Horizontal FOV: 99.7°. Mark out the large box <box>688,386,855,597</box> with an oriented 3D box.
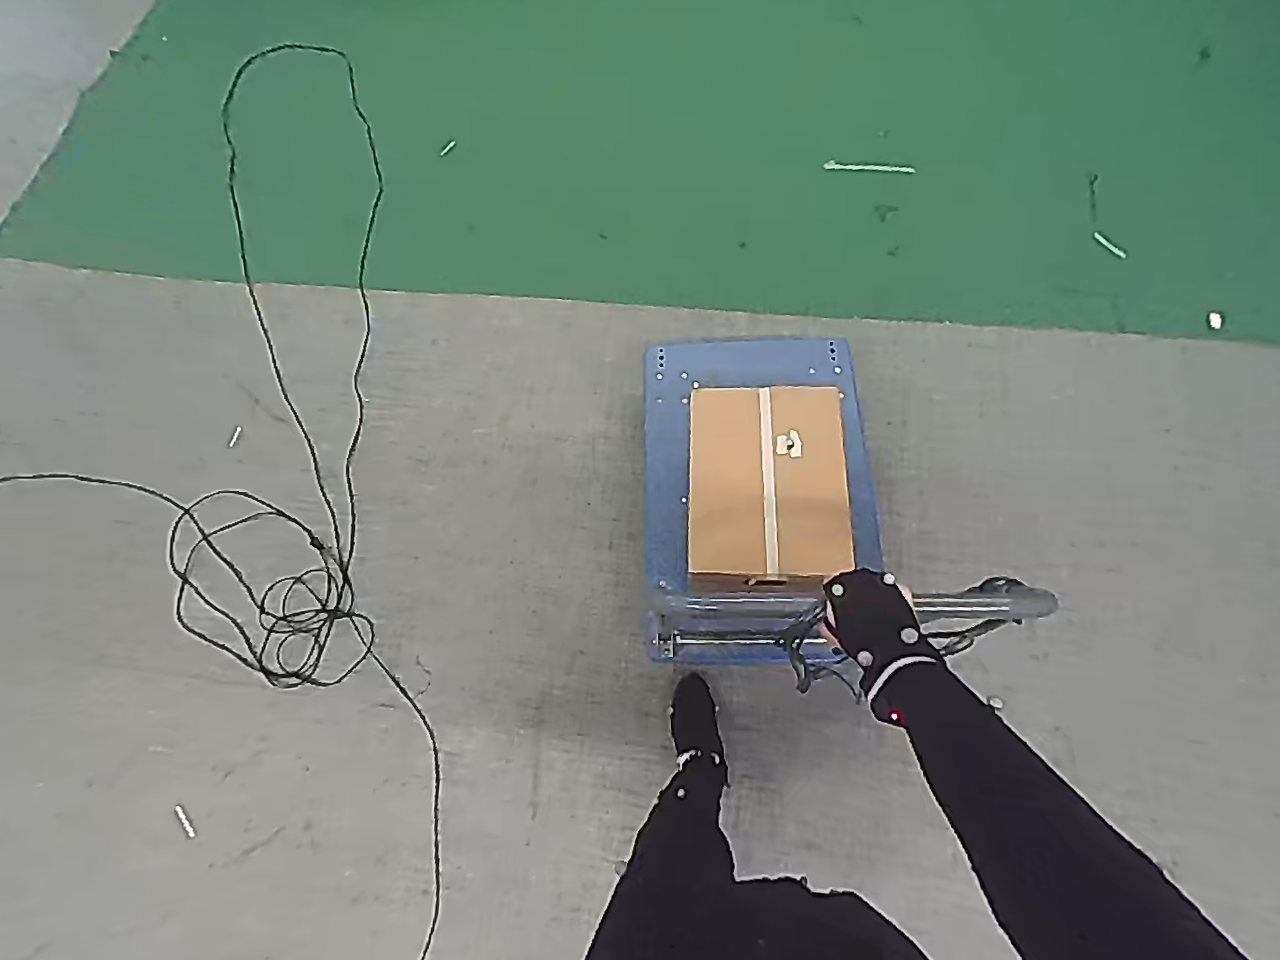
[{"bbox_3d":[0.267,0.041,1.220,0.320,0.320,0.408,1,69,5],"label":"large box"}]
